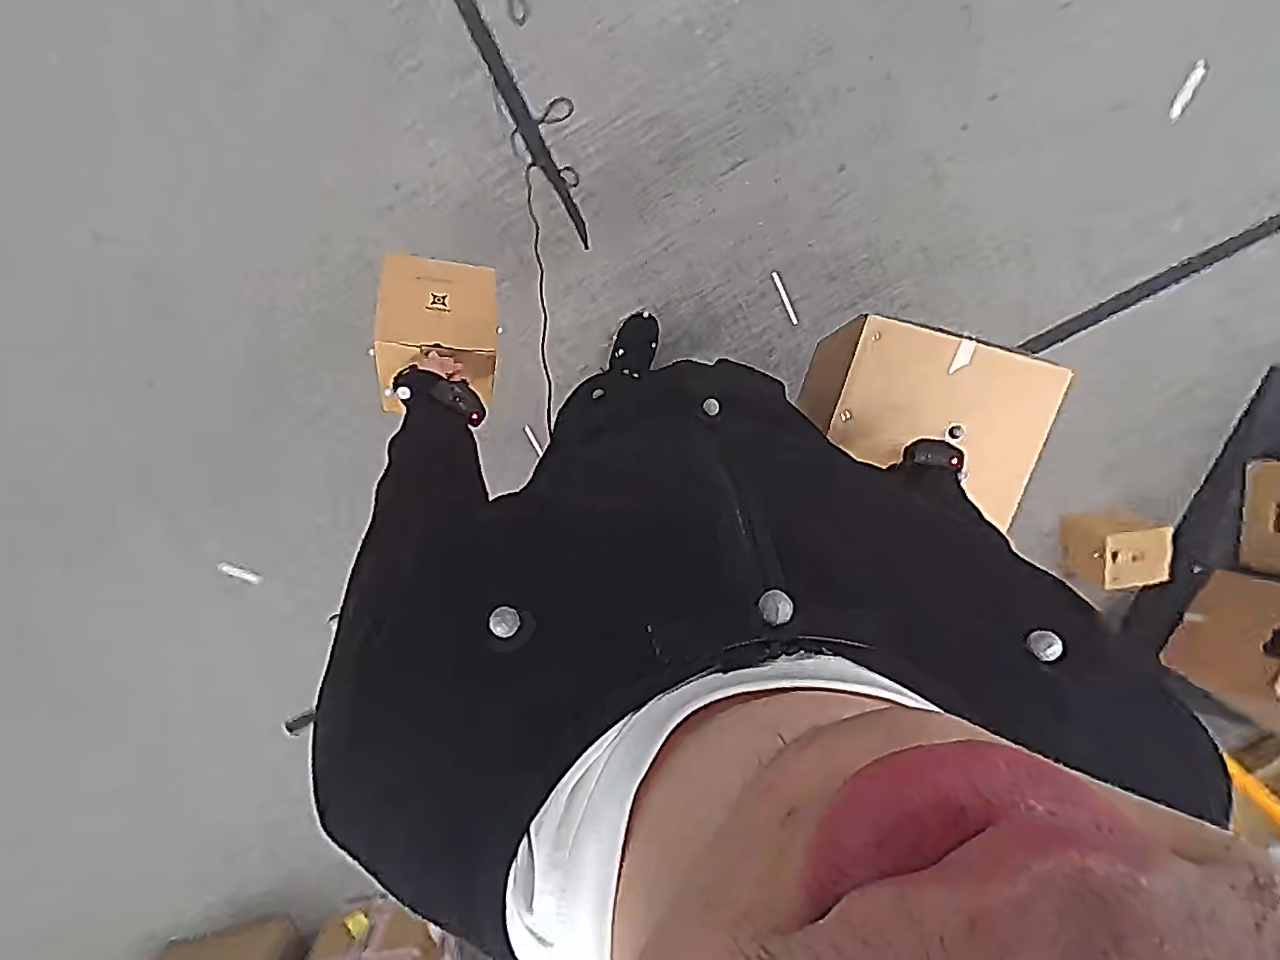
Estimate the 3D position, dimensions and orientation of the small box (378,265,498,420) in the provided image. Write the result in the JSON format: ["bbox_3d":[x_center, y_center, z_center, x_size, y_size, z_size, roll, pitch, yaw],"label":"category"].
[{"bbox_3d":[-0.322,-0.214,0.879,0.168,0.176,0.179,1,62,-20],"label":"small box"}]
